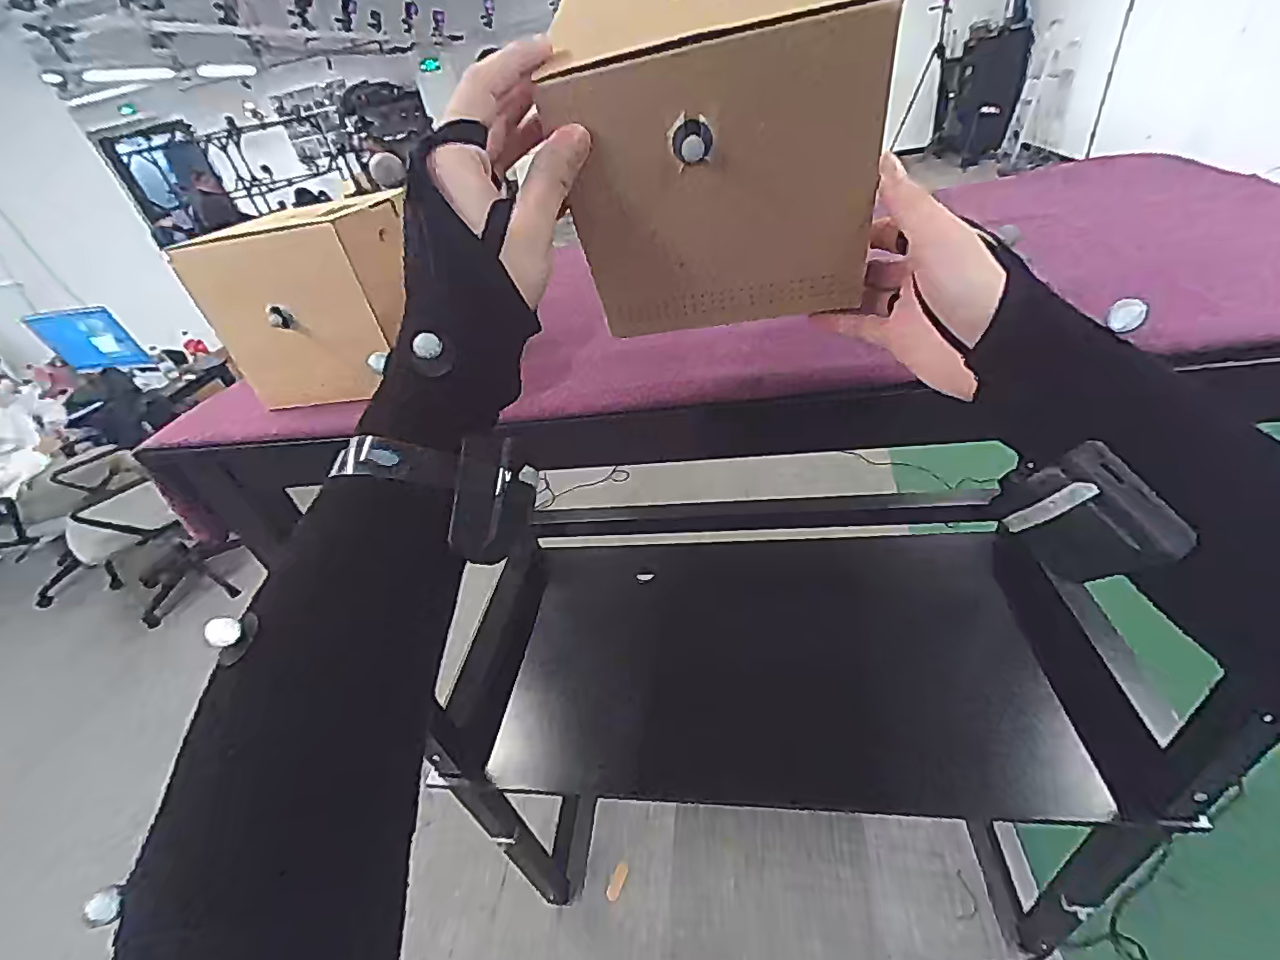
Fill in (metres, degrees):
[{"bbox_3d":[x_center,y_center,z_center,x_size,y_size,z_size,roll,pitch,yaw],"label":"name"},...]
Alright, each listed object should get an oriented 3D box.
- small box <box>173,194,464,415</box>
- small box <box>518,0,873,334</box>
[{"bbox_3d":[-0.319,-0.187,0.584,0.179,0.176,0.168,-5,36,12],"label":"small box"},{"bbox_3d":[0.045,-0.218,0.364,0.179,0.176,0.168,-4,56,13],"label":"small box"}]
